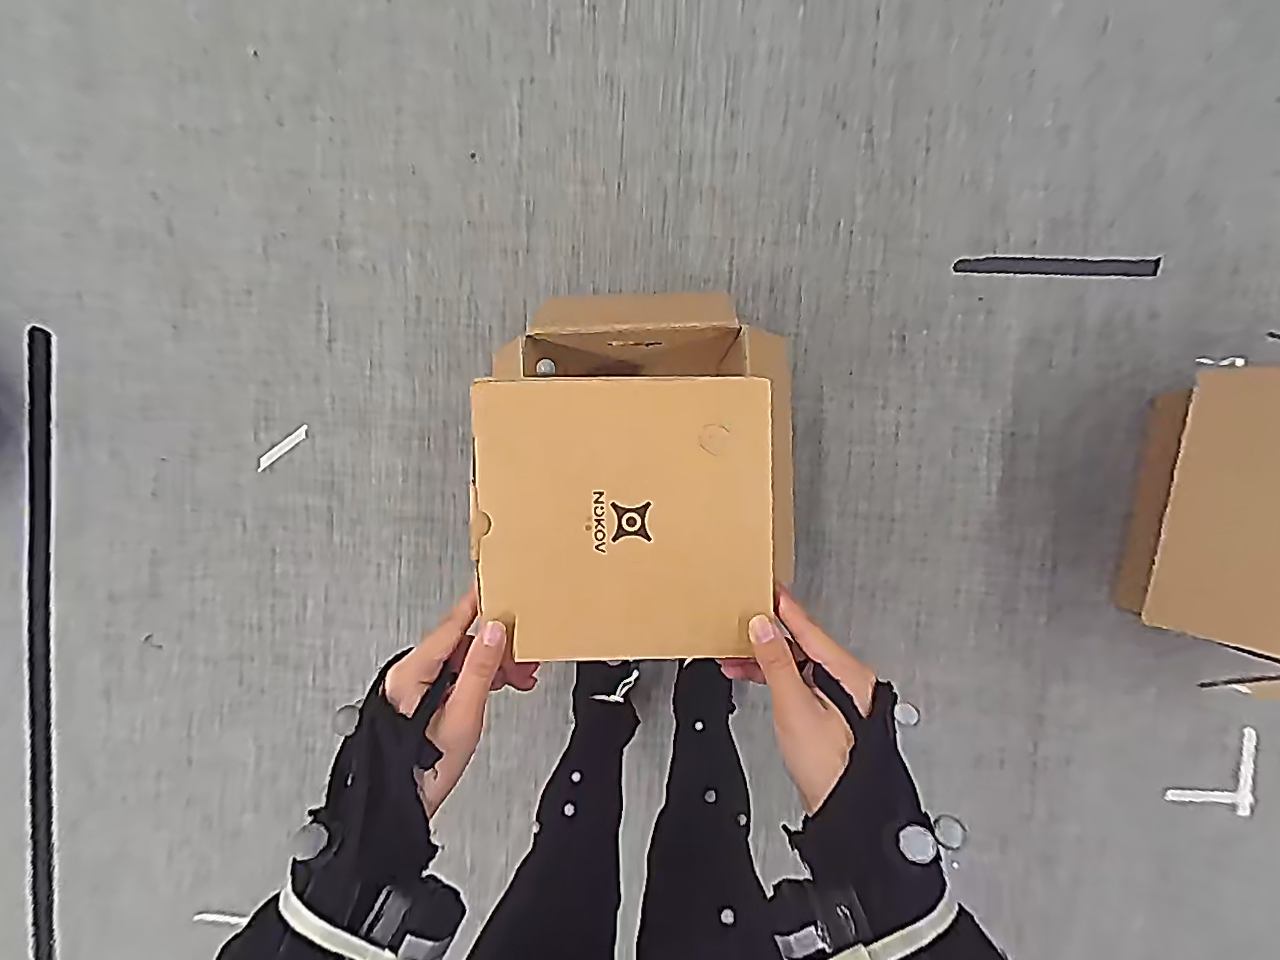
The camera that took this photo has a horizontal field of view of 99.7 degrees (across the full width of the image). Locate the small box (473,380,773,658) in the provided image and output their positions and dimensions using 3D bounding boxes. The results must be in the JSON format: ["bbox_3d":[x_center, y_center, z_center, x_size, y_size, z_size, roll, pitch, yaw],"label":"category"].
[{"bbox_3d":[-0.010,0.018,0.397,0.179,0.176,0.168,-1,93,0],"label":"small box"}]
